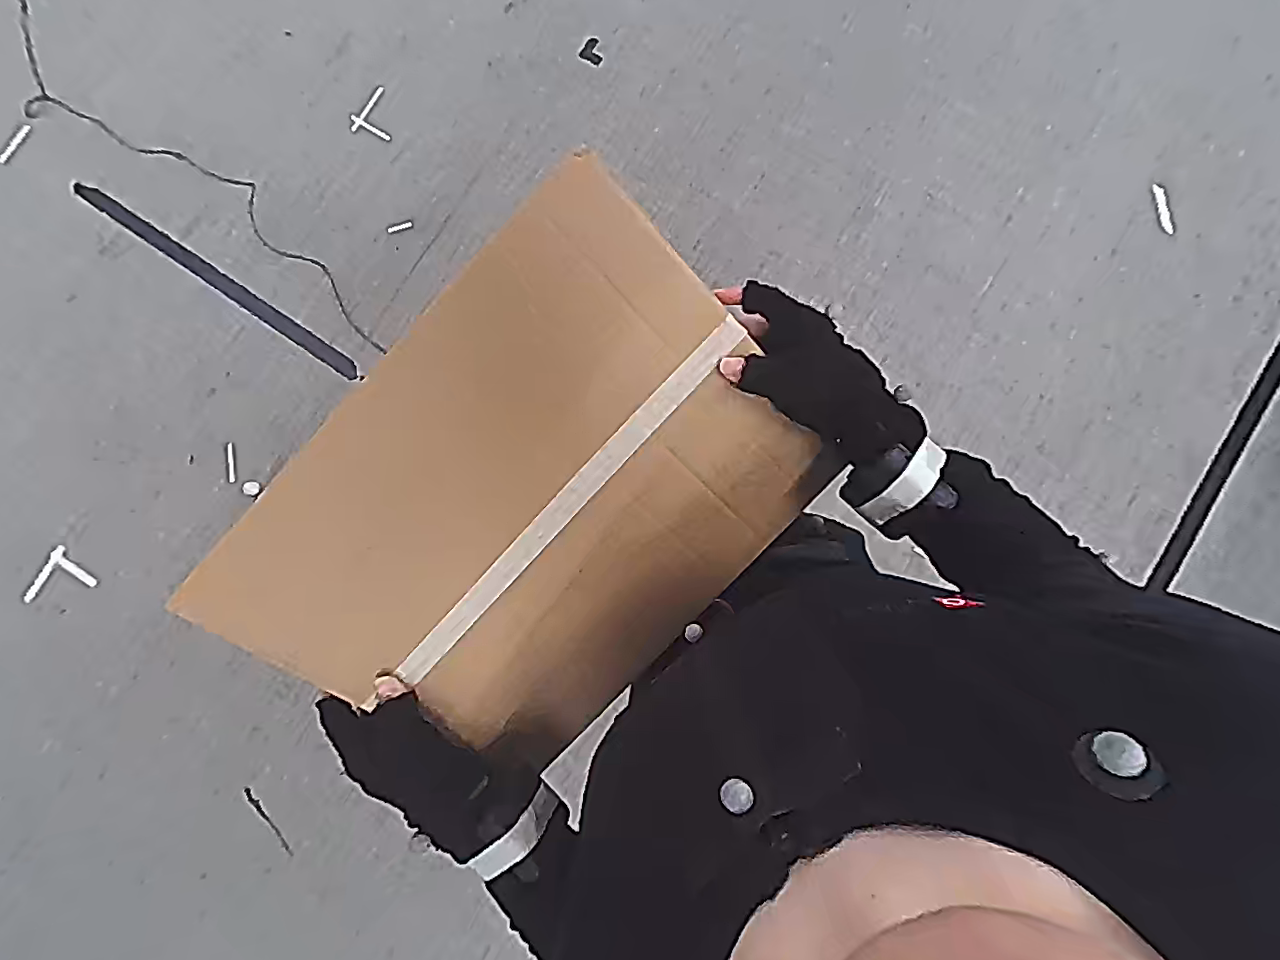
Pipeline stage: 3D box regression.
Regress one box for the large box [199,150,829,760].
[{"bbox_3d":[-0.109,-0.024,0.556,0.408,0.320,0.320,-46,114,4],"label":"large box"}]
